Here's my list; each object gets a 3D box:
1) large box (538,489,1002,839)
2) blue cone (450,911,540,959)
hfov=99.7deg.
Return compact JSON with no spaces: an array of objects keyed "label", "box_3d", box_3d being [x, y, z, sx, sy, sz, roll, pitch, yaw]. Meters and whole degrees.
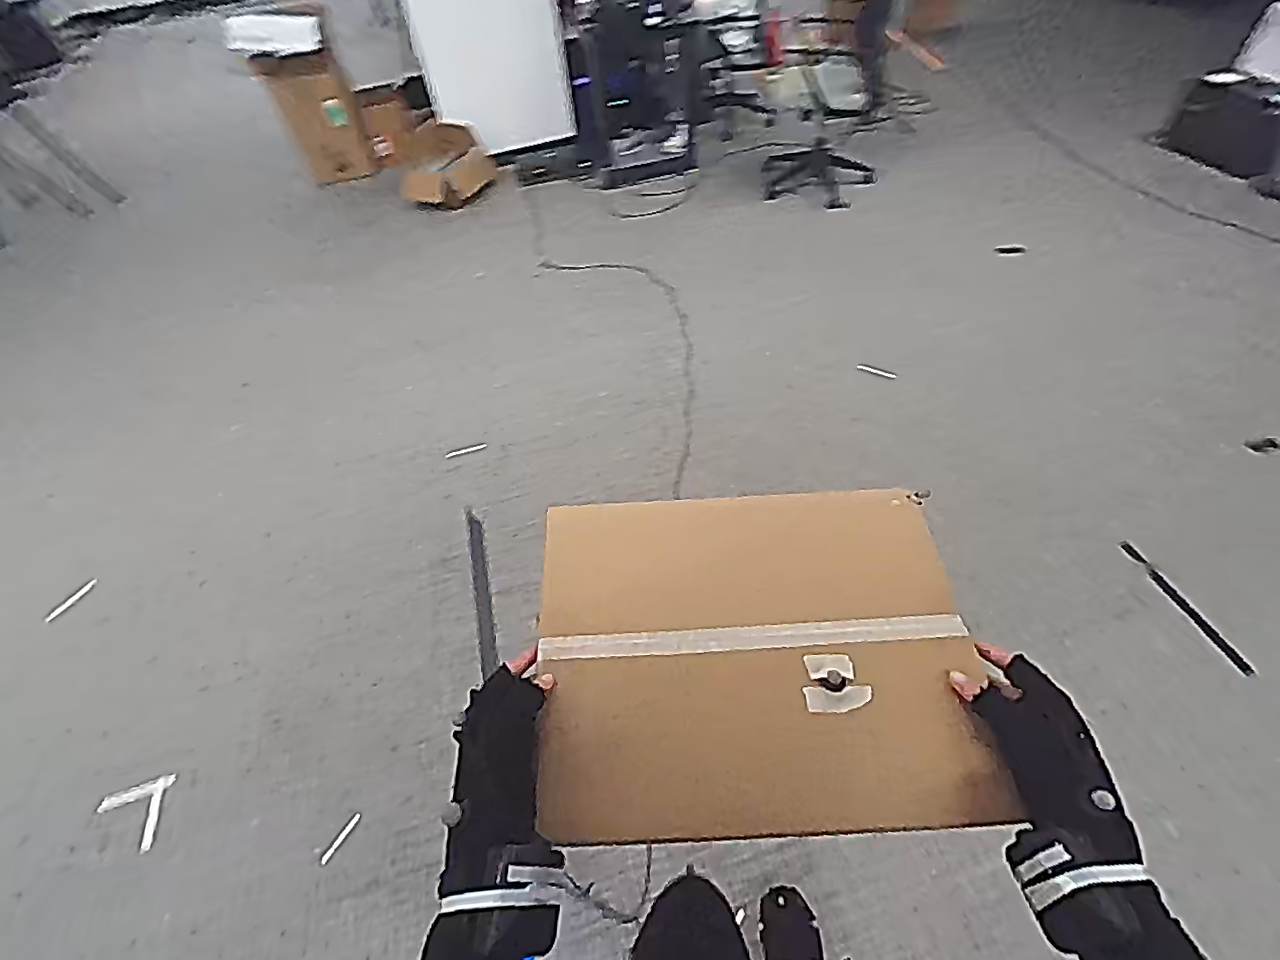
[{"label":"large box","box_3d":[0.104,0.235,0.657,0.408,0.320,0.320,-4,58,0]},{"label":"blue cone","box_3d":[-0.324,0.918,0.991,0.193,0.380,0.192,0,52,8]}]
